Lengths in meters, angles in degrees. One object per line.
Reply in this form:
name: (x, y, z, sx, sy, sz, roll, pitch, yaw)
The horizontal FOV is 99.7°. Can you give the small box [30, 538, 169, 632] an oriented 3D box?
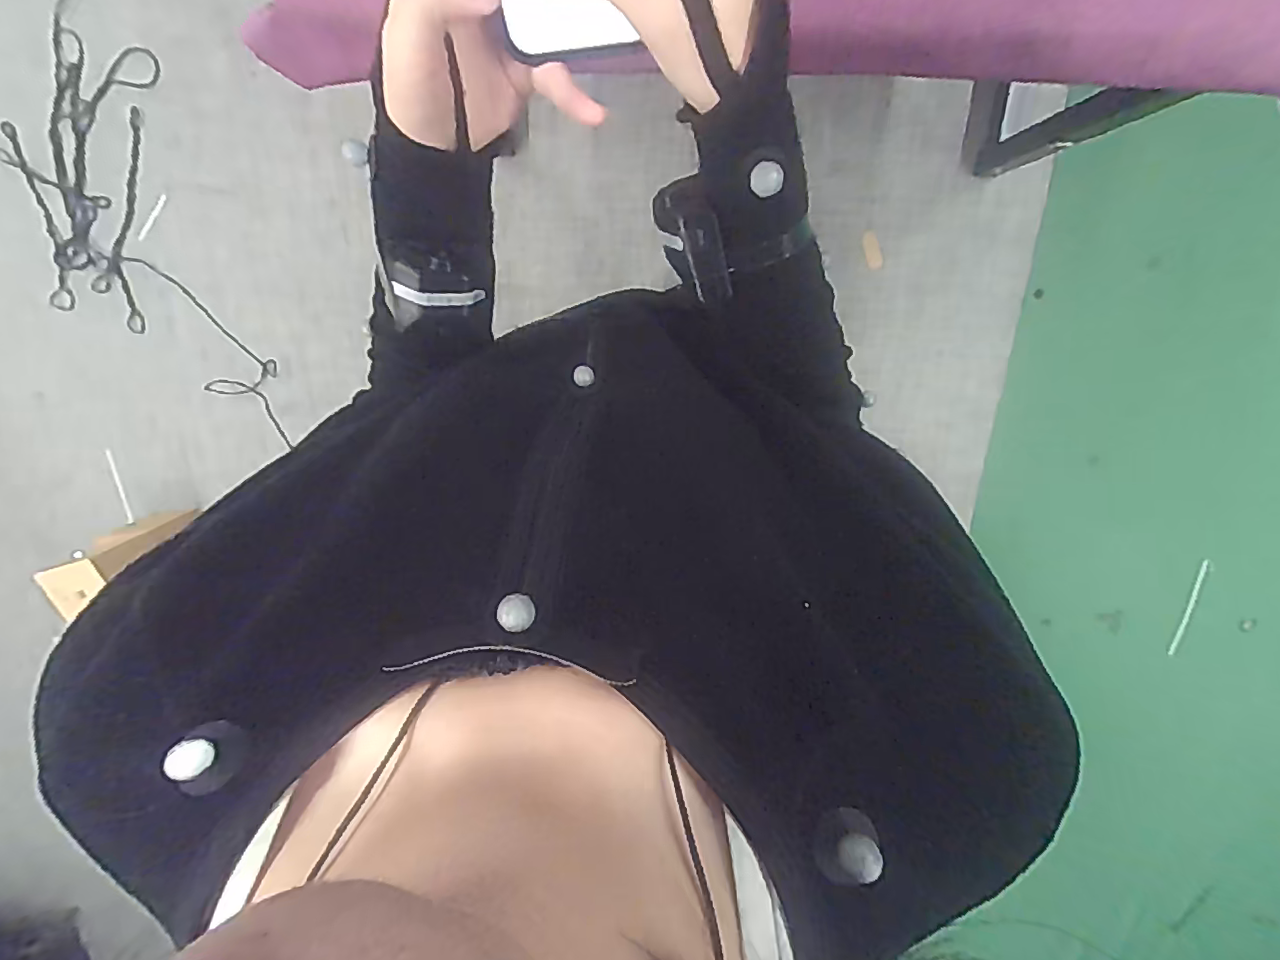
small box: (-1.414, 0.271, 1.435, 0.179, 0.176, 0.168, -15, 107, 8)
